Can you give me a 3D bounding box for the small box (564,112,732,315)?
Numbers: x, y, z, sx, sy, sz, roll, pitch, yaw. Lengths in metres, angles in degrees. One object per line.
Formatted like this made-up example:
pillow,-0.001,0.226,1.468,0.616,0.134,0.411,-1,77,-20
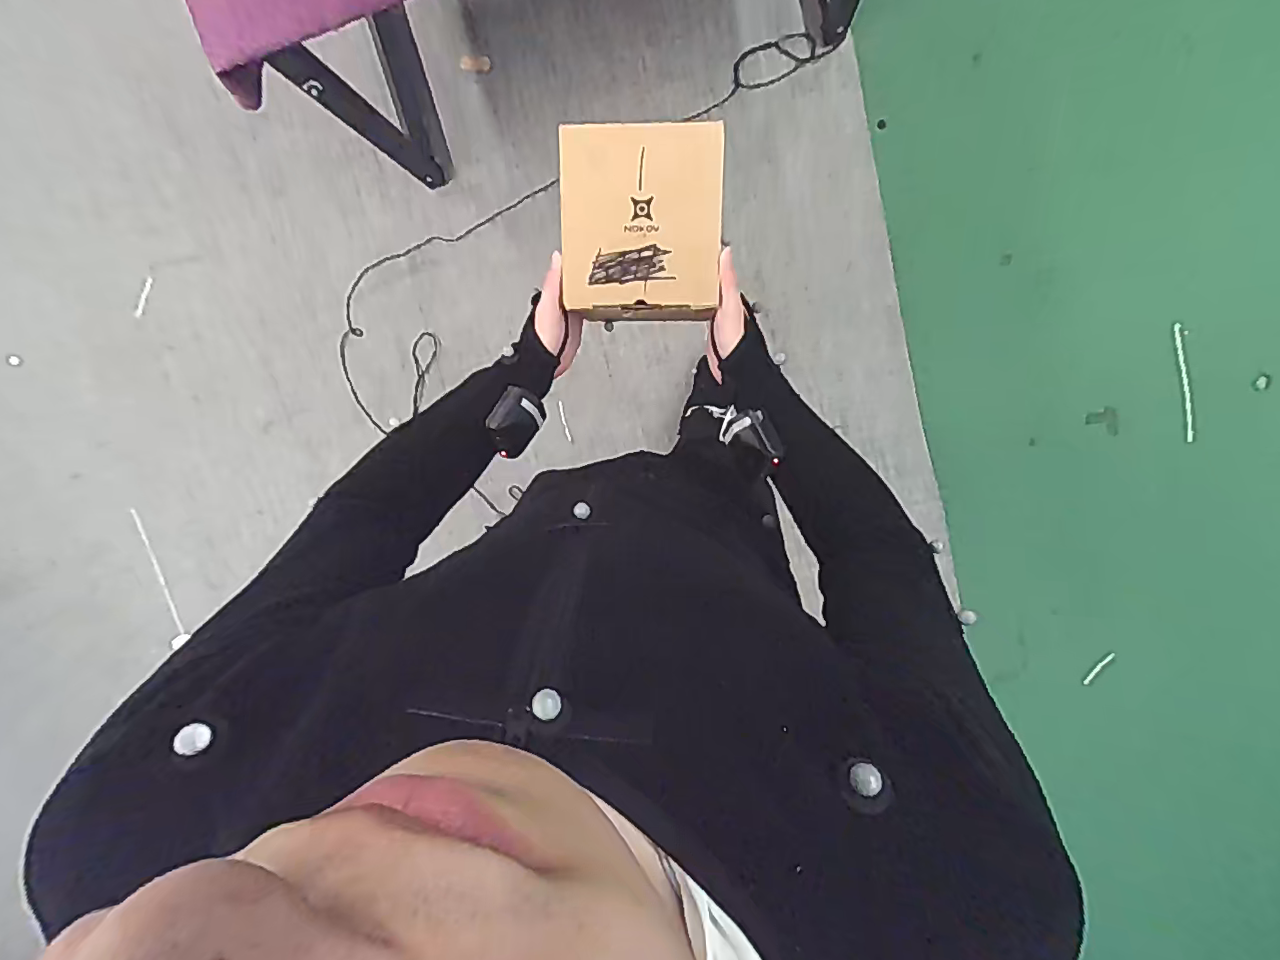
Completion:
small box,0.012,-0.284,0.617,0.168,0.176,0.179,0,101,3
